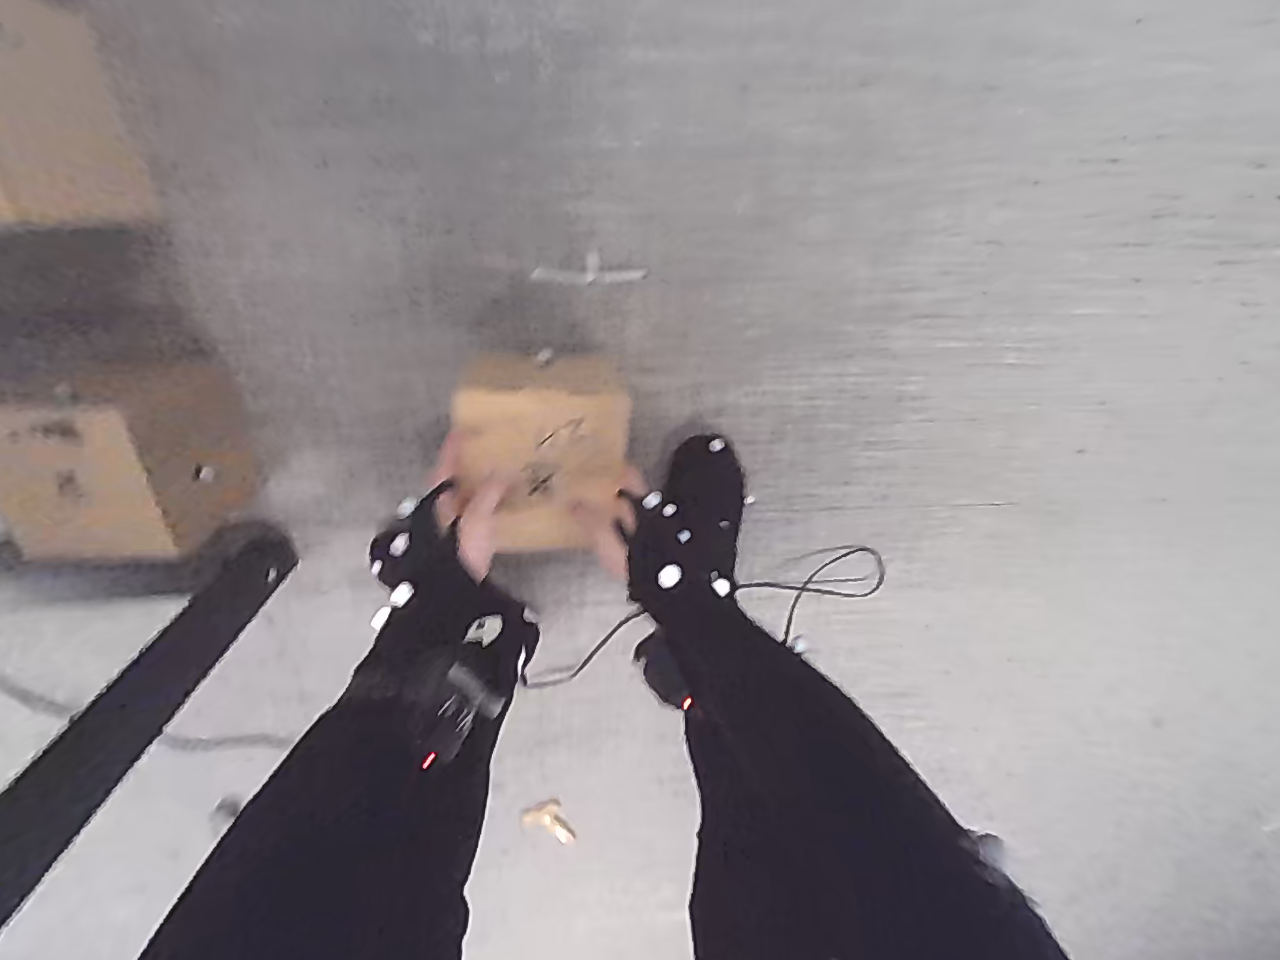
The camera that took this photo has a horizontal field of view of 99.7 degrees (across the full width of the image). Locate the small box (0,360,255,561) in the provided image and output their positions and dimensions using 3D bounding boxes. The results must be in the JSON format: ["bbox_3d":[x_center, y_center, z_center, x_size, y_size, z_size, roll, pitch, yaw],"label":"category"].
[{"bbox_3d":[-0.584,-0.026,0.617,0.168,0.176,0.179,0,117,-5],"label":"small box"}]
